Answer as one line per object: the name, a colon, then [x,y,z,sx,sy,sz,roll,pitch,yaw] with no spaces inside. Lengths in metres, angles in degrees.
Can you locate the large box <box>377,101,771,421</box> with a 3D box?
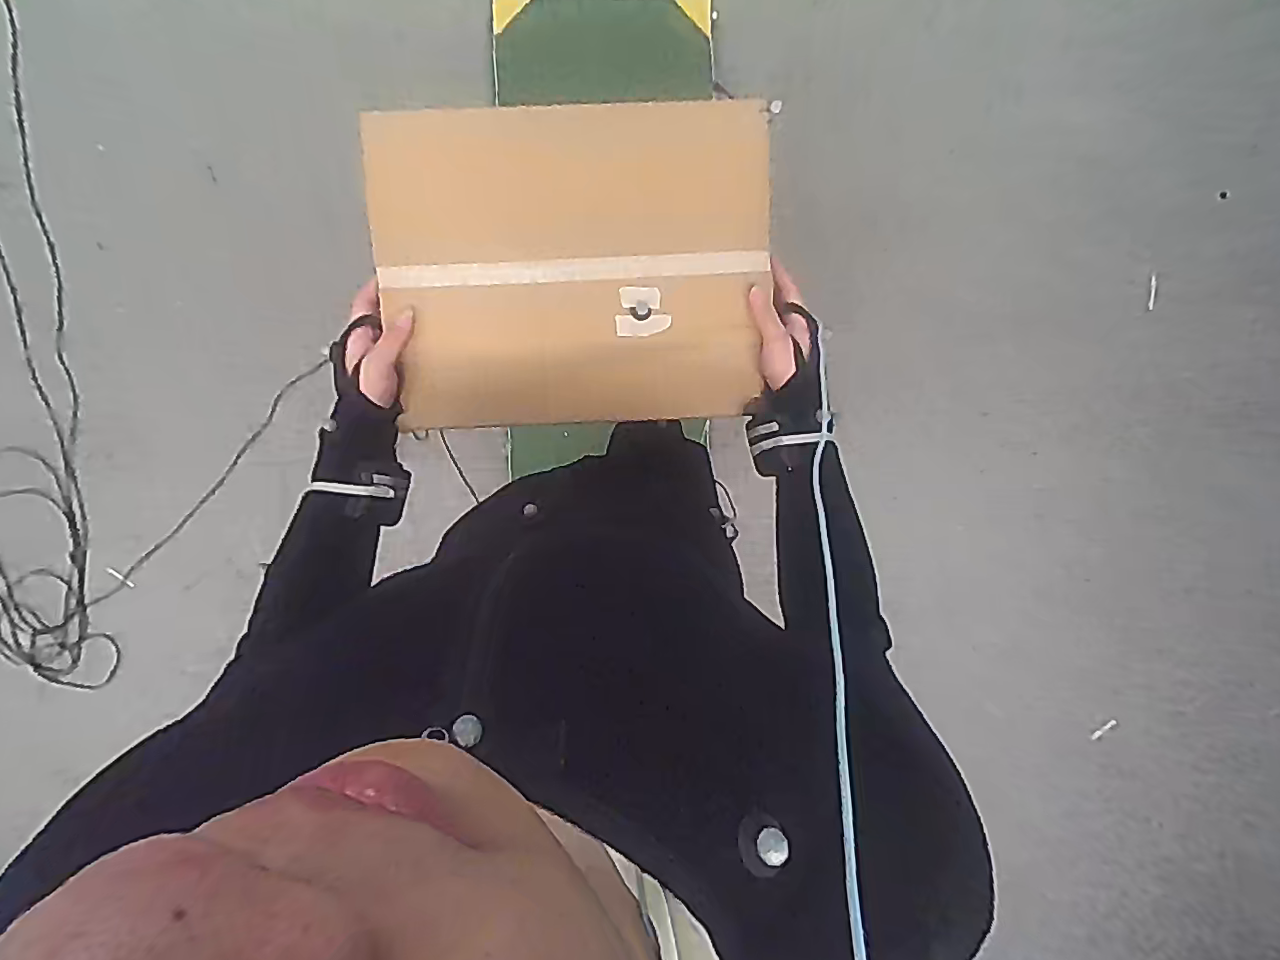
large box: [-0.068,-0.246,0.716,0.408,0.320,0.320,-3,98,-2]
